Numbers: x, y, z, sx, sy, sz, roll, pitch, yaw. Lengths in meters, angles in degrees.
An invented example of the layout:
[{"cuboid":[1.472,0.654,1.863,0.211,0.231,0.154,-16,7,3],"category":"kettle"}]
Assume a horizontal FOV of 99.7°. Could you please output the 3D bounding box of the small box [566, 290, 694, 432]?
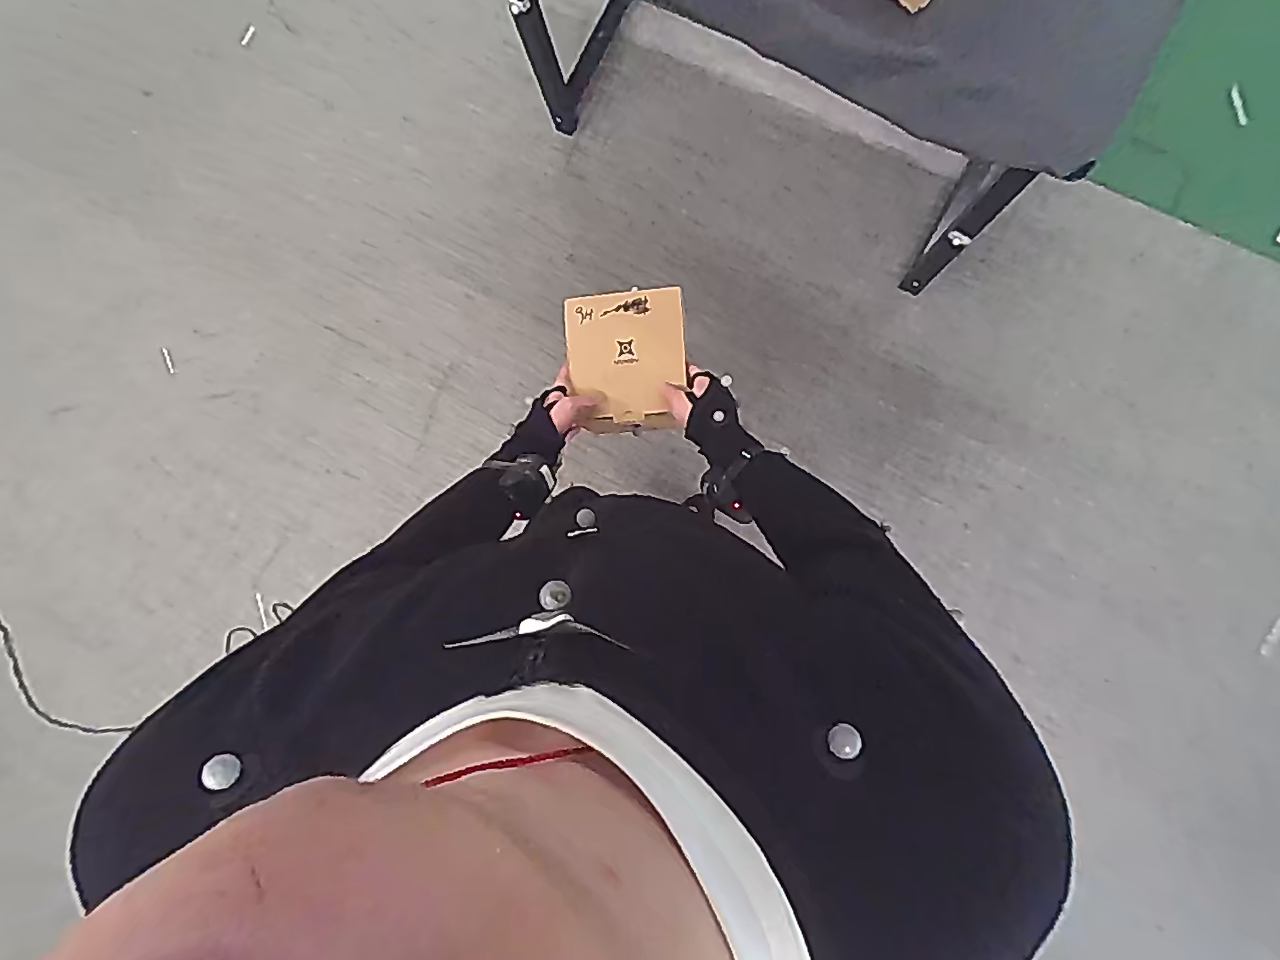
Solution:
[{"cuboid":[-0.008,-0.172,0.843,0.168,0.176,0.179,-7,88,6],"category":"small box"}]
